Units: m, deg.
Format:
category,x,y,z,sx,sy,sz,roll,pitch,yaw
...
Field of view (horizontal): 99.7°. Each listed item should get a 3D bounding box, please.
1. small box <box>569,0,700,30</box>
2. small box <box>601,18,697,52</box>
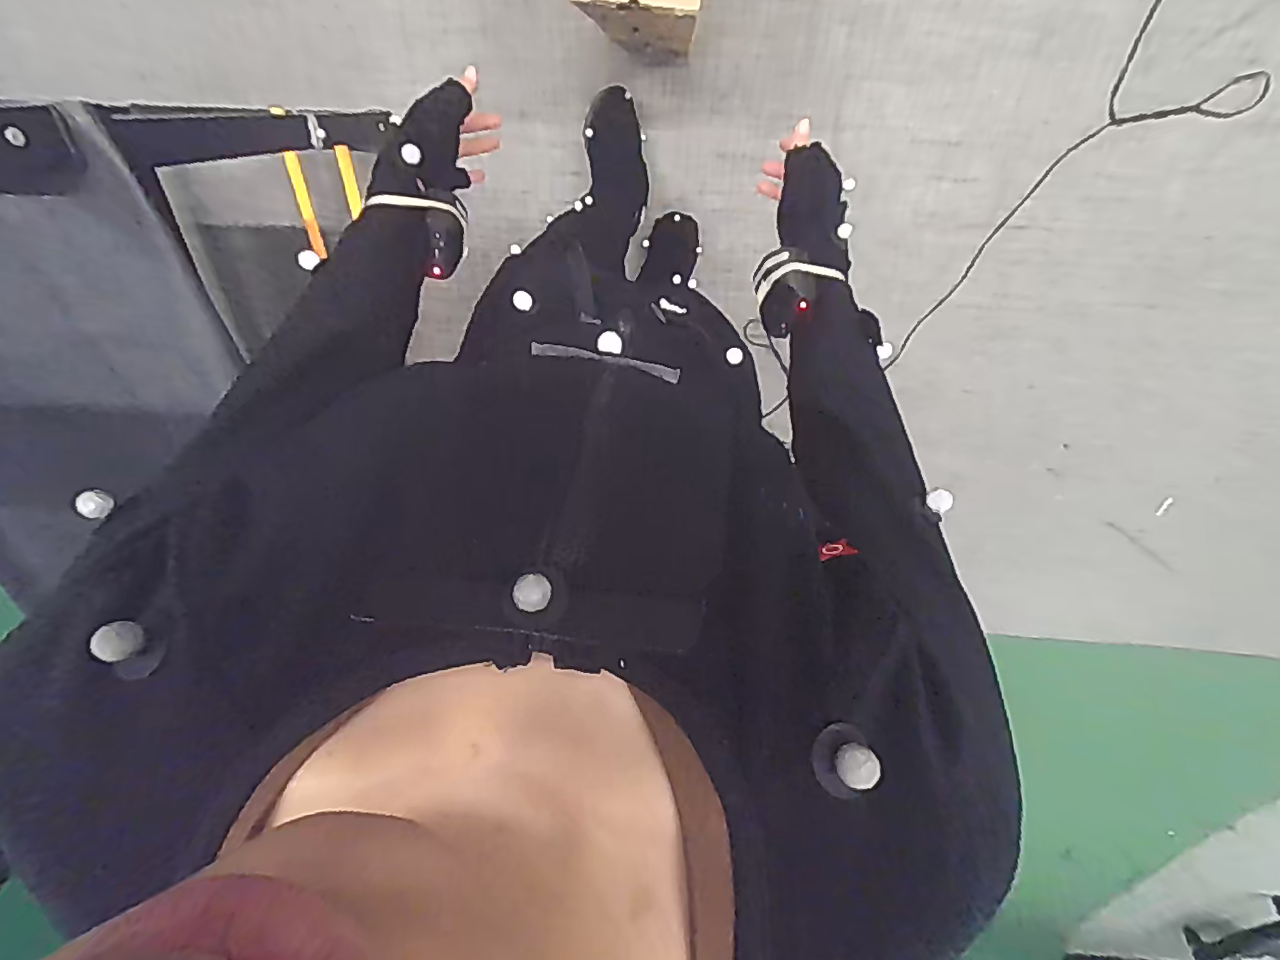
category,x,y,z,sx,sy,sz,roll,pitch,yaw
small box,0.005,-0.700,0.689,0.168,0.176,0.179,6,125,-1
small box,0.028,-0.886,0.957,0.168,0.176,0.179,9,125,-1
